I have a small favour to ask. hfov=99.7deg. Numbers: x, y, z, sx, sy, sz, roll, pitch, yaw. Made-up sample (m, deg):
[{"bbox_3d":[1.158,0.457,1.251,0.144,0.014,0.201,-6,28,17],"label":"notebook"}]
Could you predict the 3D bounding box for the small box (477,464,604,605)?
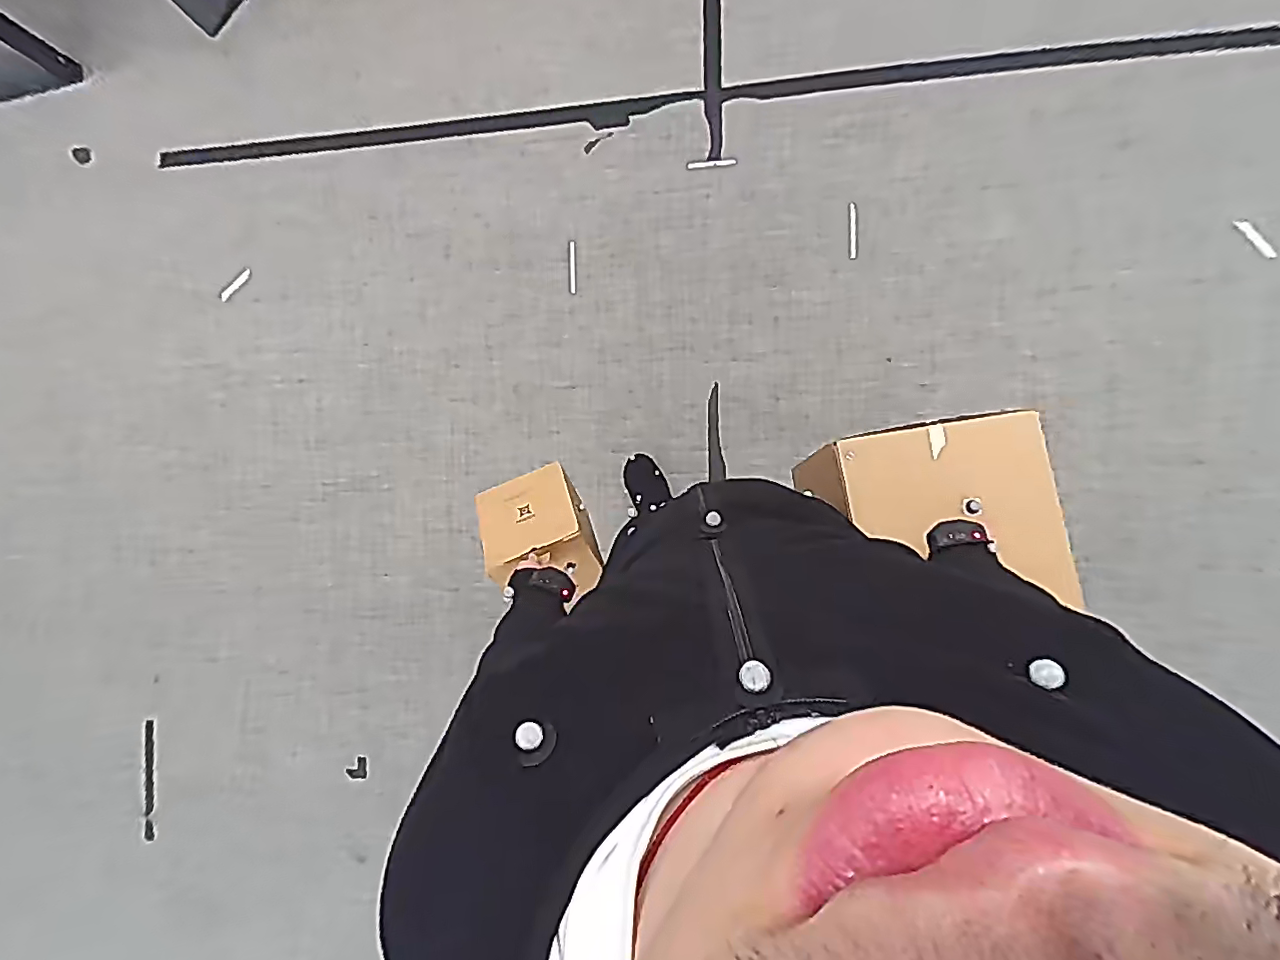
[{"bbox_3d":[-0.179,0.108,0.995,0.168,0.176,0.179,-22,49,-2],"label":"small box"}]
